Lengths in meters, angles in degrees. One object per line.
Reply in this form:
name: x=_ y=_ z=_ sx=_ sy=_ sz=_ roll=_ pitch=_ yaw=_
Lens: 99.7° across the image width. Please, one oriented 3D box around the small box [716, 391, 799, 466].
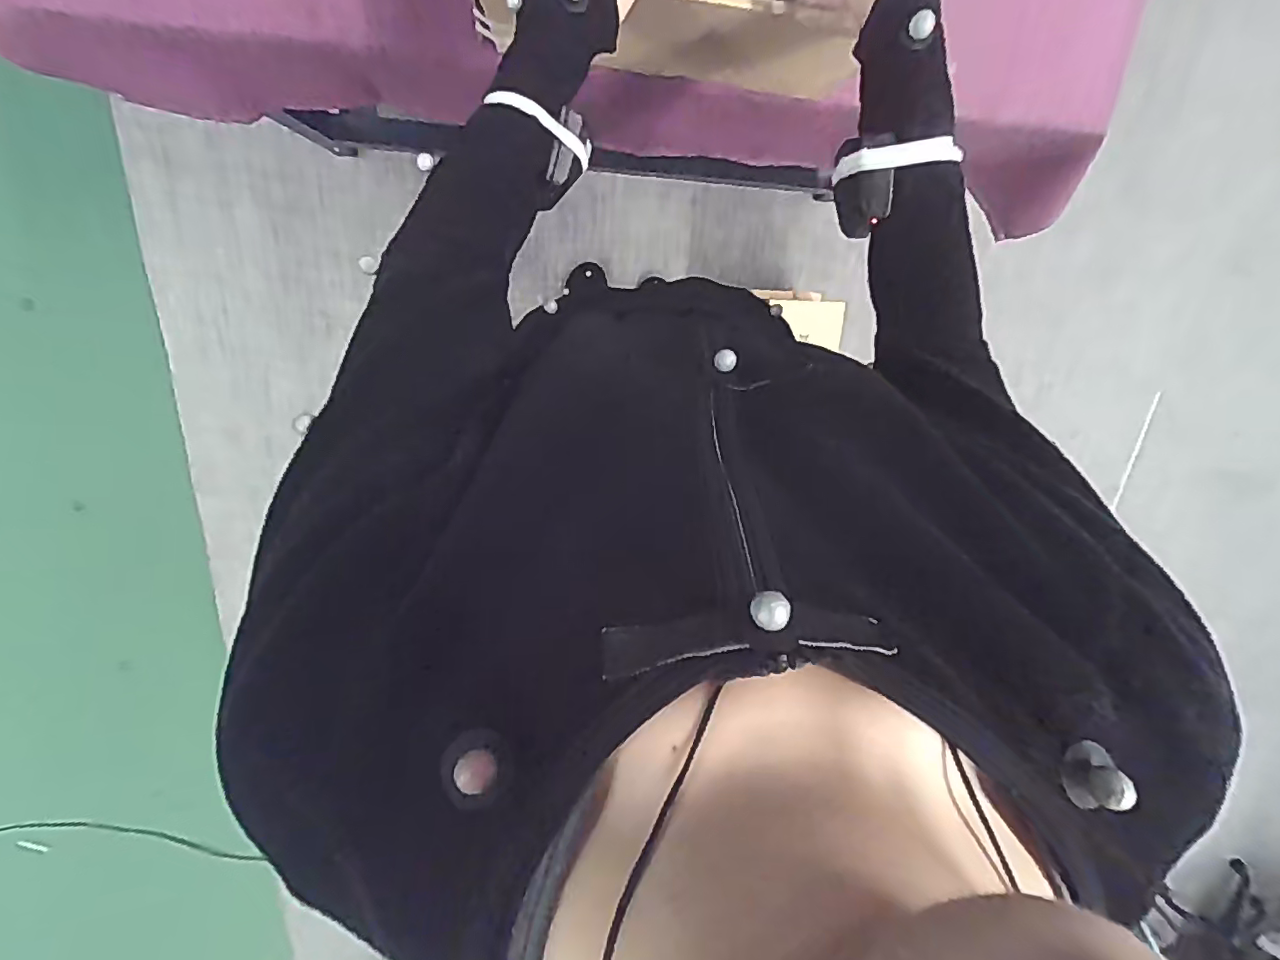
small box: x=0.306 y=-0.142 z=1.448 sx=0.179 sy=0.176 sz=0.168 roll=-4 pitch=109 yaw=-7
